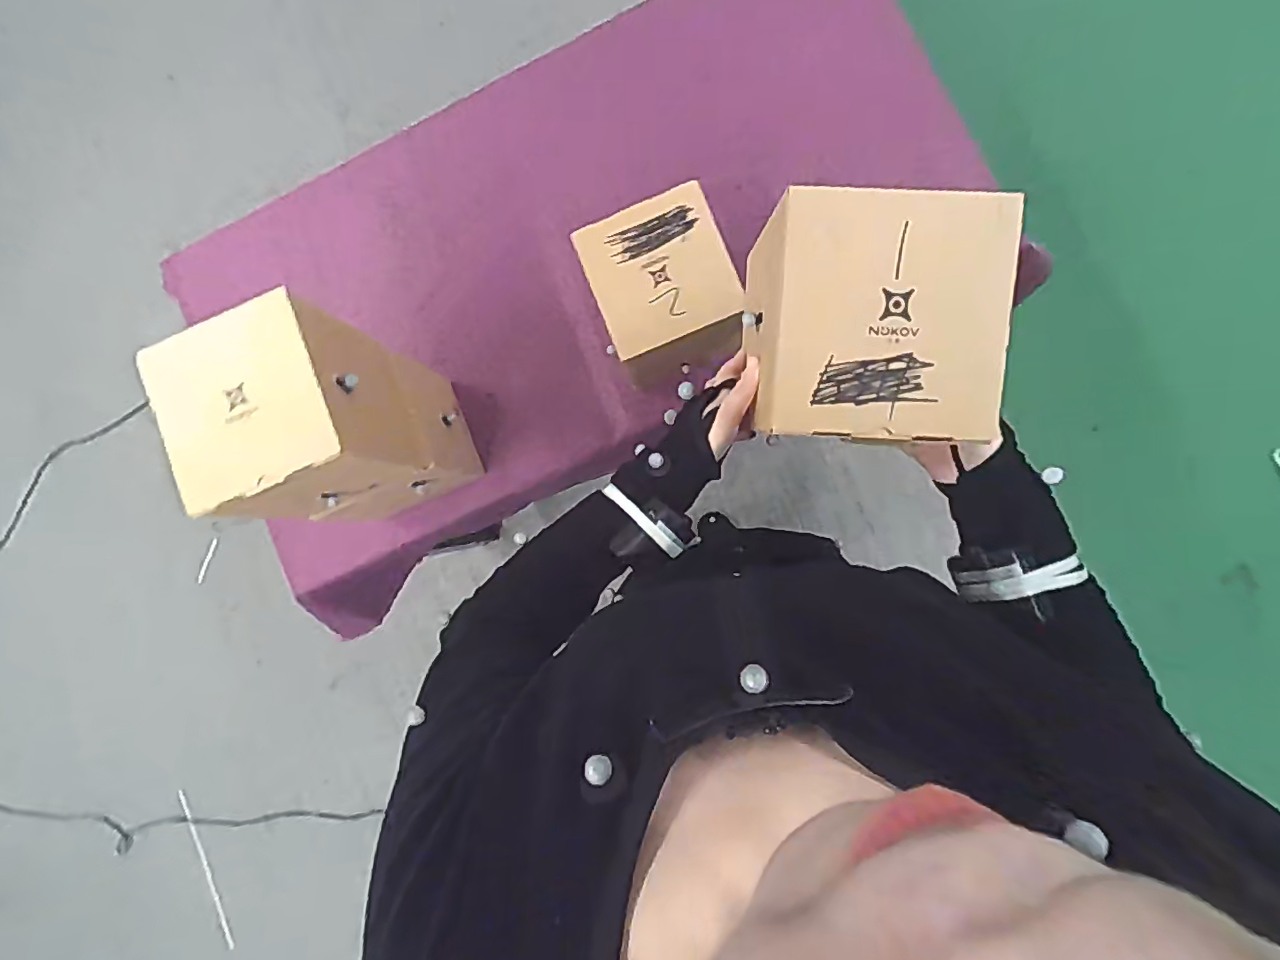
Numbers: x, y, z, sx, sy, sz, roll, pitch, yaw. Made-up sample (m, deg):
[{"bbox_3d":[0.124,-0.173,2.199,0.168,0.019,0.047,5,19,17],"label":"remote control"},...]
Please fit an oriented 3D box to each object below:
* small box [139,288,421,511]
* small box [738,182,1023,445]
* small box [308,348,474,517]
[{"bbox_3d":[-0.377,-0.073,0.596,0.168,0.176,0.179,-22,86,4],"label":"small box"},{"bbox_3d":[0.180,-0.126,0.463,0.168,0.176,0.179,4,96,2],"label":"small box"},{"bbox_3d":[-0.354,-0.057,0.756,0.179,0.176,0.168,-23,84,4],"label":"small box"}]
